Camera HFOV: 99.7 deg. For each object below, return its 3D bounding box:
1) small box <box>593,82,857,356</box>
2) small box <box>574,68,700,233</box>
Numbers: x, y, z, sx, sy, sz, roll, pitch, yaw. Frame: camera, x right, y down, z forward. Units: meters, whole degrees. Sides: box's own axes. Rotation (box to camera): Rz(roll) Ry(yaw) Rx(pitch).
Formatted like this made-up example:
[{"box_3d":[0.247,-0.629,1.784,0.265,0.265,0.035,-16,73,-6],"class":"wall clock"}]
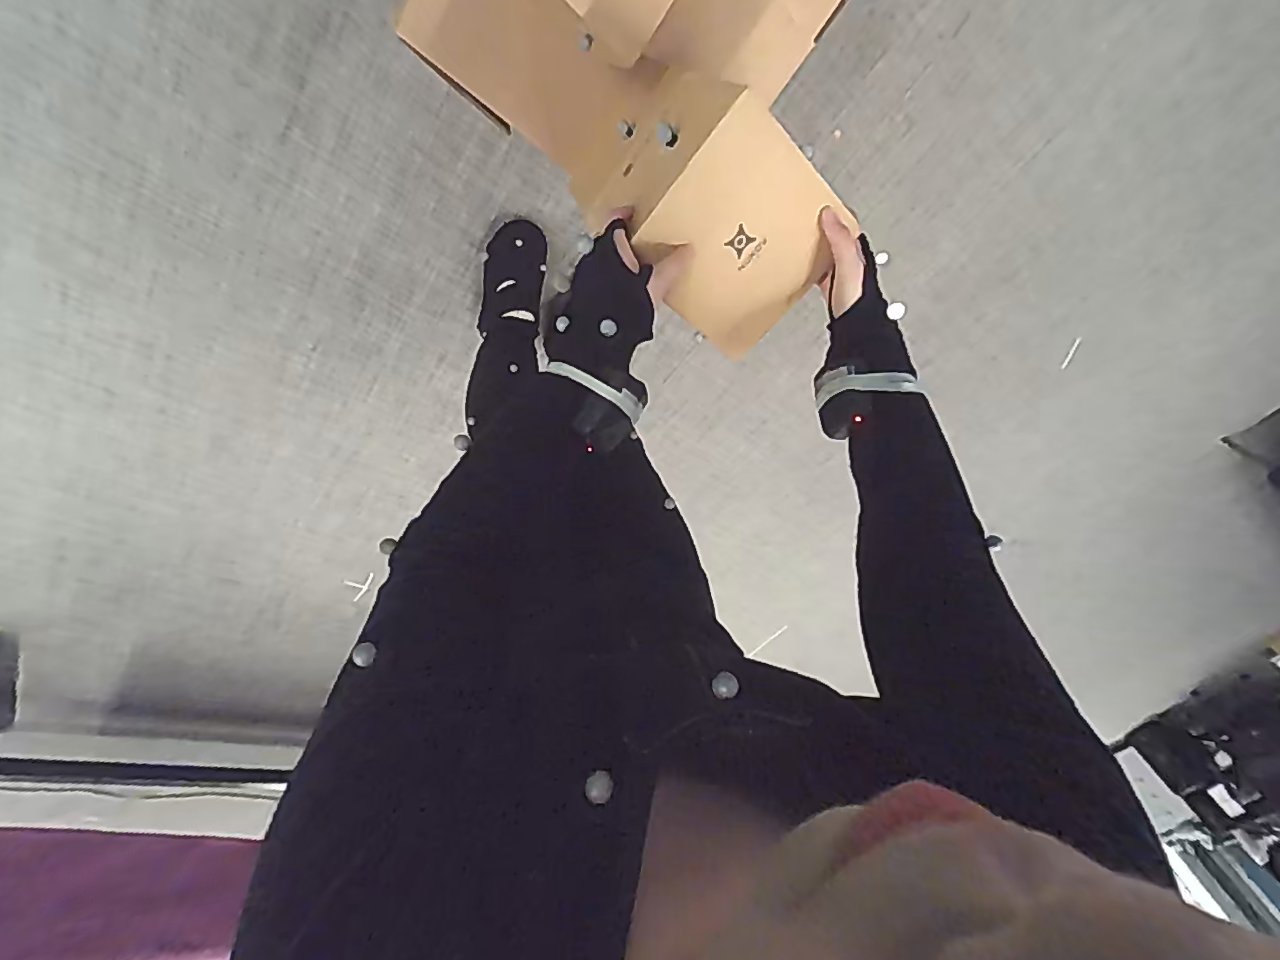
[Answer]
[{"box_3d":[0.073,-0.265,0.550,0.179,0.176,0.168,27,118,-34],"class":"small box"},{"box_3d":[0.033,-0.369,0.671,0.168,0.176,0.179,26,118,-33],"class":"small box"}]
